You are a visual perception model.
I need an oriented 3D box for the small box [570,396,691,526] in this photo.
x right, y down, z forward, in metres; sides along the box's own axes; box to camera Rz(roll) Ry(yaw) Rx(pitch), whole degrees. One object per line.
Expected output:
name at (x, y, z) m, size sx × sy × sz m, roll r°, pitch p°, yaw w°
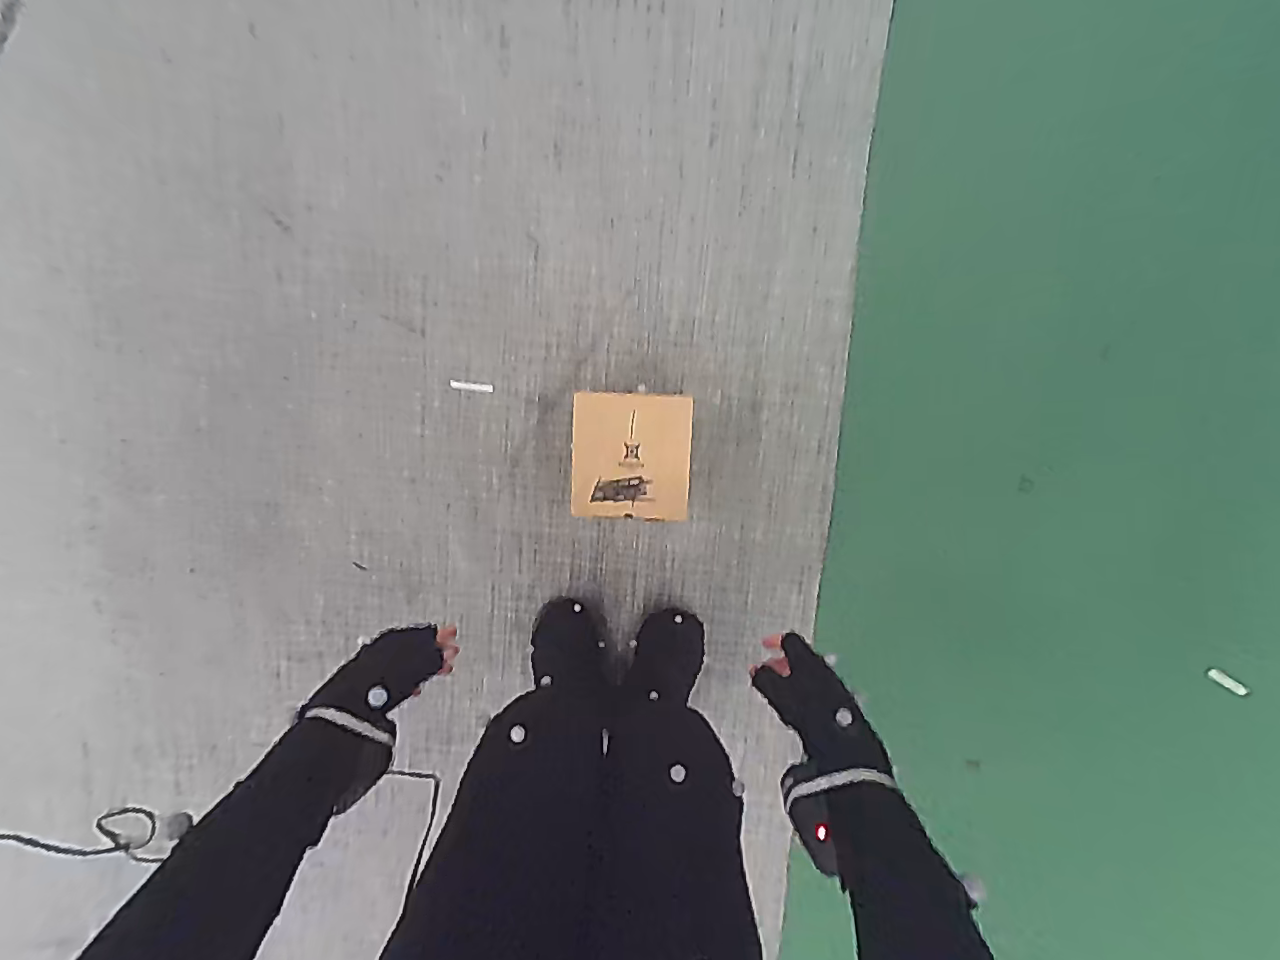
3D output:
small box at (-0.009, -0.036, 0.830) m, size 0.168 × 0.176 × 0.179 m, roll 3°, pitch 97°, yaw 3°
